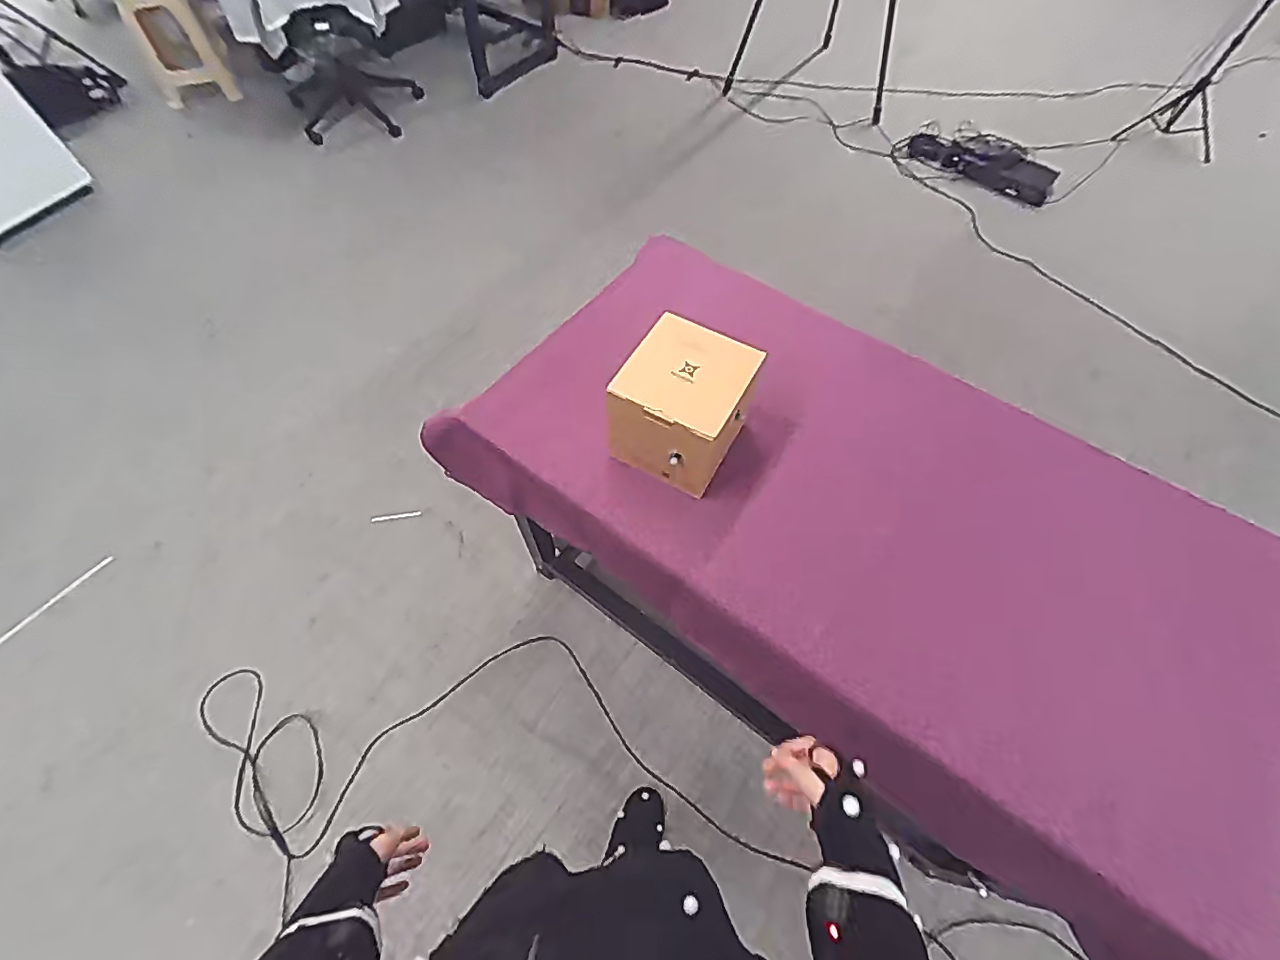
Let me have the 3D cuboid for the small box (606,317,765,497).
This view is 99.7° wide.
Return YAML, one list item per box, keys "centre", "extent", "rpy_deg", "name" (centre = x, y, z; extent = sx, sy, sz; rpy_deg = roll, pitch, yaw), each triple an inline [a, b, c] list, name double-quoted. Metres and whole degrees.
- centre: [0.065, -0.104, 0.816]
  extent: [0.168, 0.176, 0.179]
  rpy_deg: [28, 62, 13]
  name: "small box"
